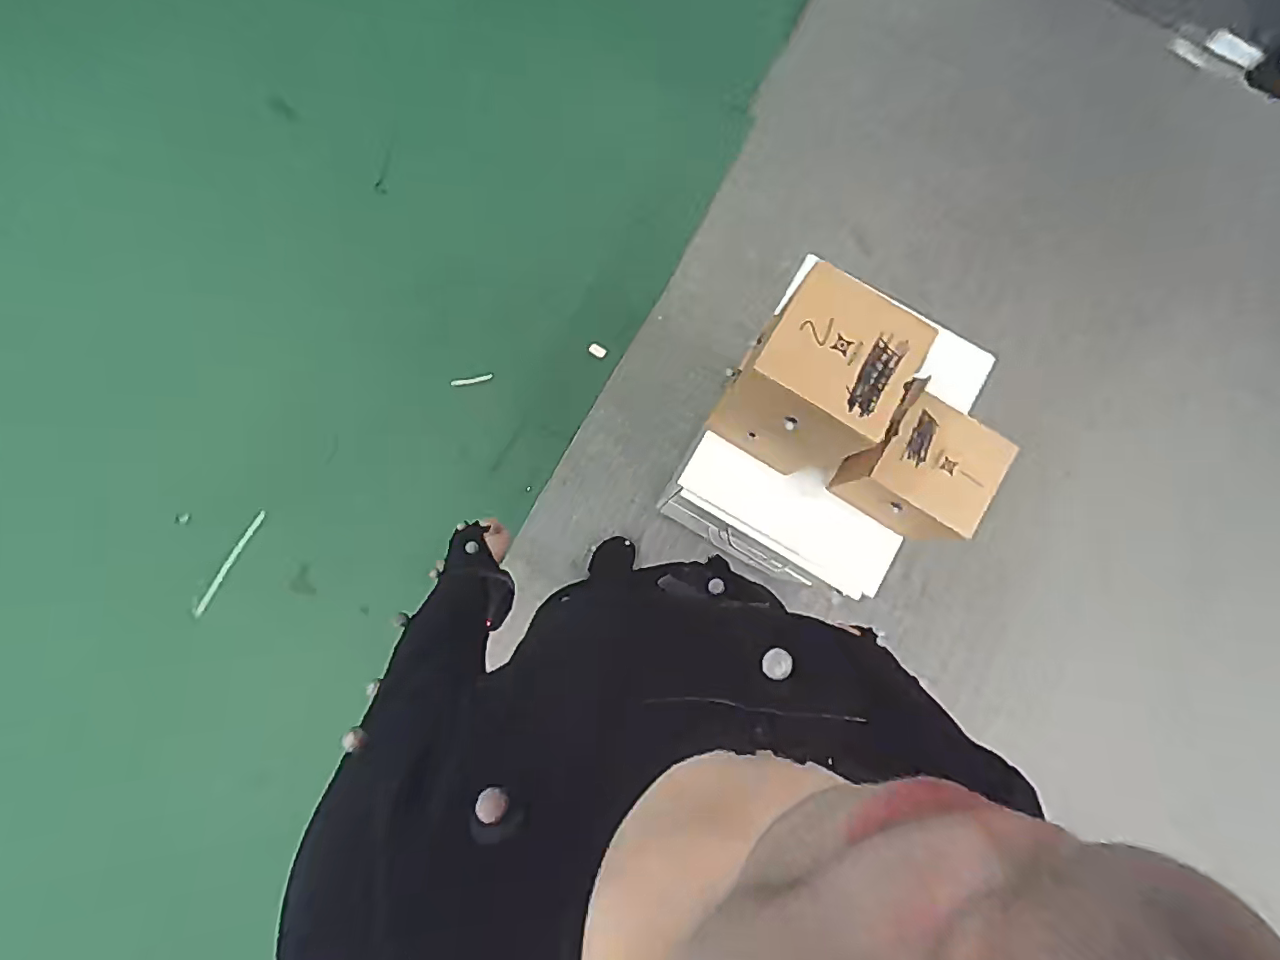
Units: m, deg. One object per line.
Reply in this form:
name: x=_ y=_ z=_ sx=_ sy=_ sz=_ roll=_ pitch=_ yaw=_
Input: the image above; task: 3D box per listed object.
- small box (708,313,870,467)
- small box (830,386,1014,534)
small box: x=0.231 y=-0.135 z=0.890 sx=0.179 sy=0.176 sz=0.168 roll=31 pitch=83 yaw=1
small box: x=0.446 y=-0.020 z=0.886 sx=0.179 sy=0.176 sz=0.168 roll=33 pitch=83 yaw=2
